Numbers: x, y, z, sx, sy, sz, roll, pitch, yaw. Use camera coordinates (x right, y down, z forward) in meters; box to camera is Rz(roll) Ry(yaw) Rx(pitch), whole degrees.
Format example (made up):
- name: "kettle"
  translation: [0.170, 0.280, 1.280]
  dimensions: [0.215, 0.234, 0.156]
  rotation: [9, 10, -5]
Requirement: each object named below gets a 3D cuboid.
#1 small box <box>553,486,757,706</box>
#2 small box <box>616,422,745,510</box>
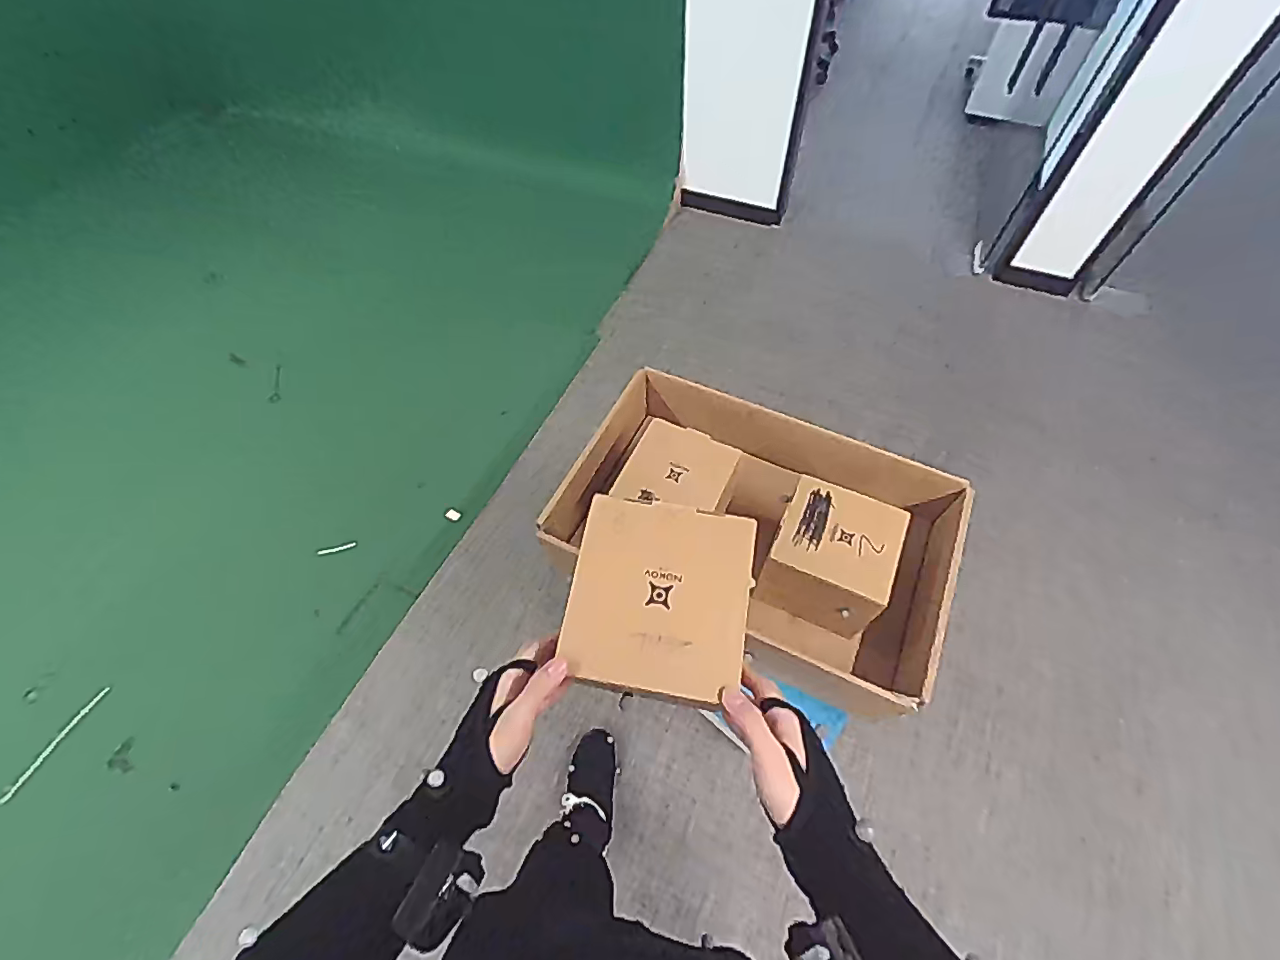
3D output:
- name: "small box"
  translation: [0.019, 0.131, 0.576]
  dimensions: [0.168, 0.176, 0.179]
  rotation: [10, 66, 6]
- name: "small box"
  translation: [0.066, 0.037, 0.945]
  dimensions: [0.168, 0.176, 0.179]
  rotation: [22, 61, 15]
